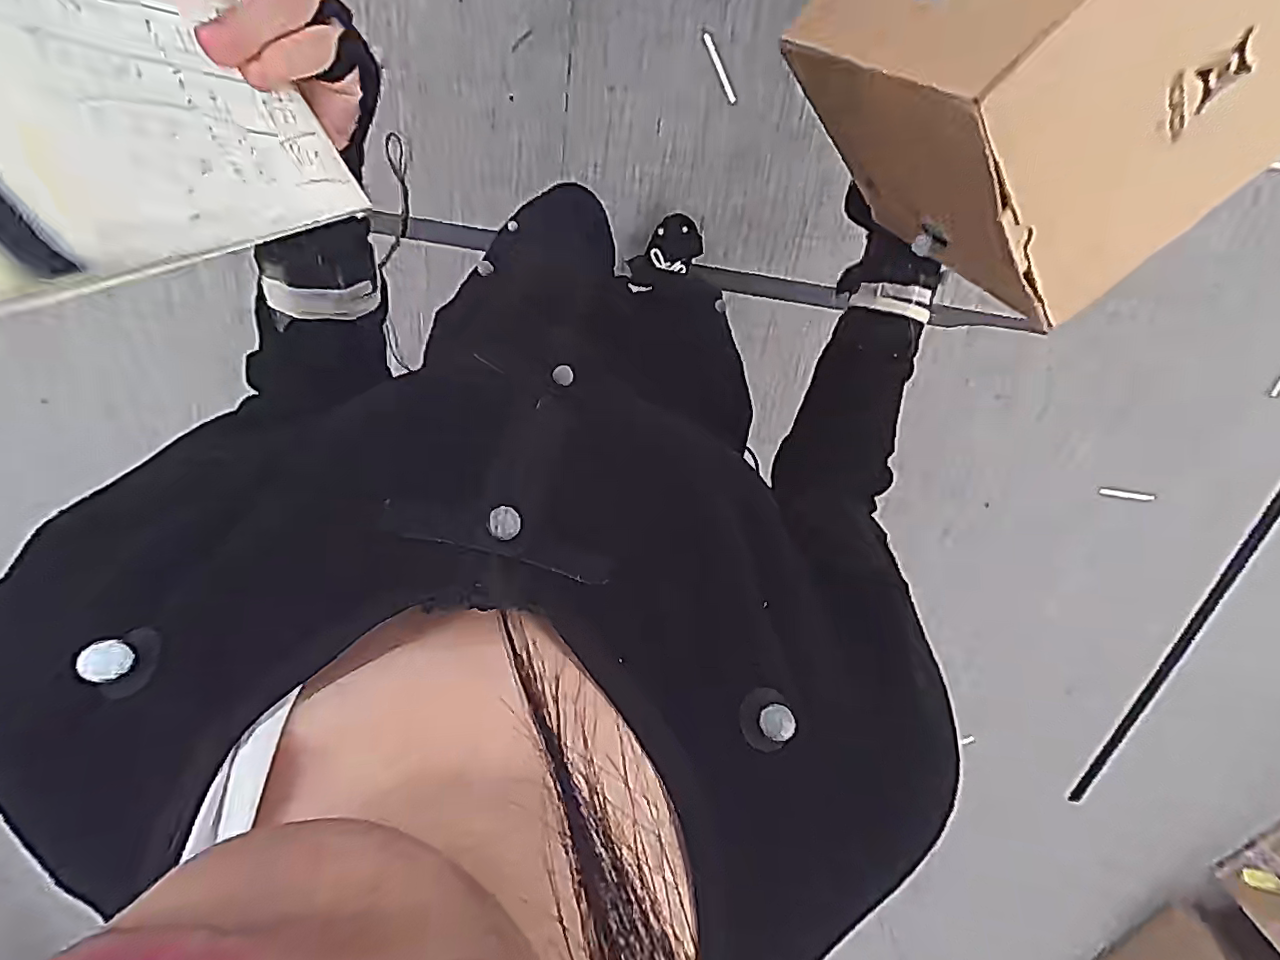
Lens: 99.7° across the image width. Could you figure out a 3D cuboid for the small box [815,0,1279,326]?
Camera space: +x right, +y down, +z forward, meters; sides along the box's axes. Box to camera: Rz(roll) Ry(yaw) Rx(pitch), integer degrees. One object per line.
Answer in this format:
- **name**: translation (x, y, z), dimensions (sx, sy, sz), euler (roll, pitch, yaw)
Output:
- **small box**: translation (0.216, -0.222, 0.274), dimensions (0.179, 0.176, 0.168), euler (-43, 135, 21)
